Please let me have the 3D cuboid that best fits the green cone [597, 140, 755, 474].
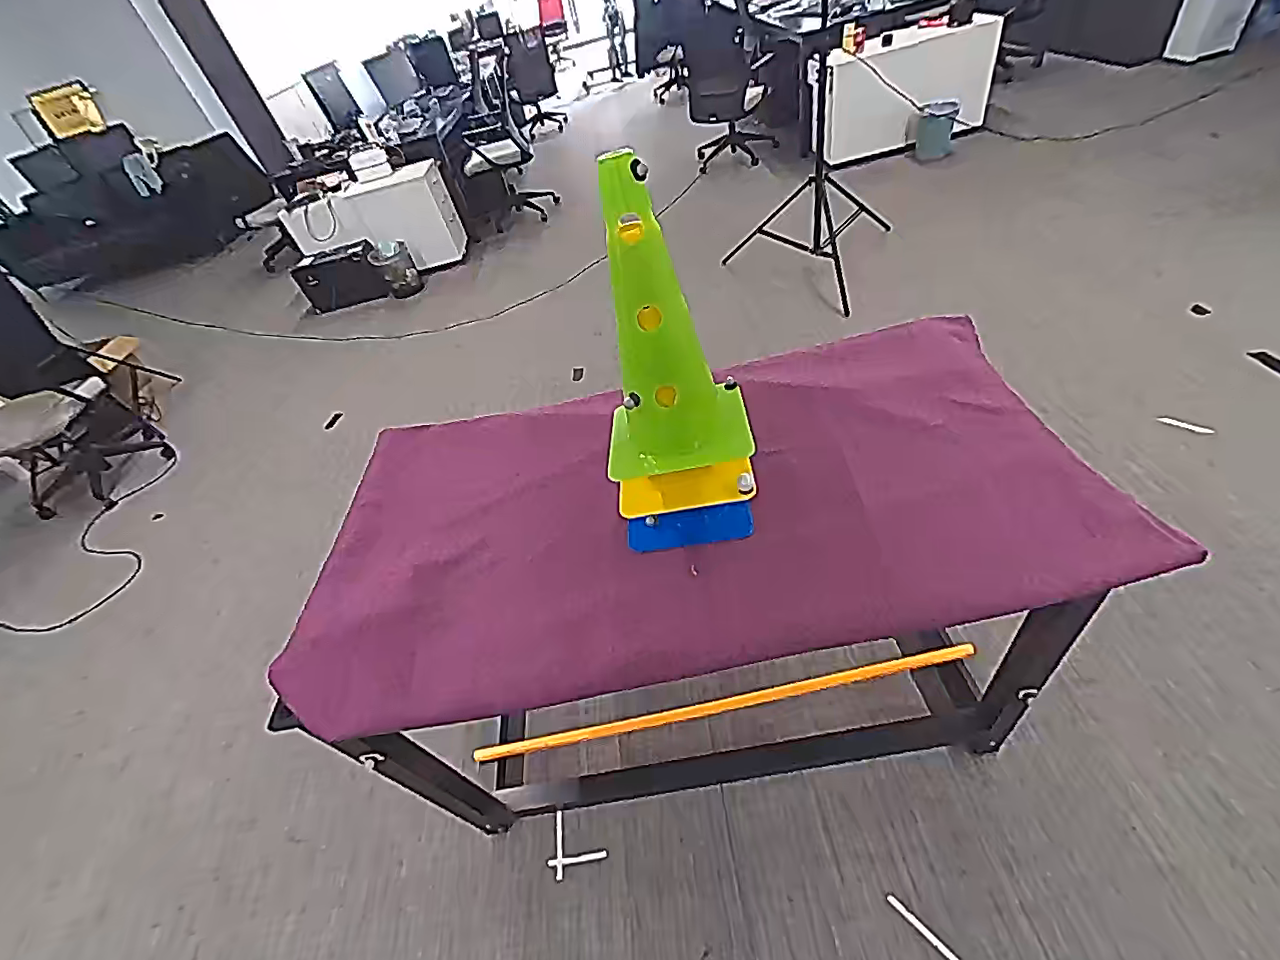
[{"bbox_3d":[0.013,-0.214,0.677,0.200,0.368,0.202,-11,38,9],"label":"green cone"}]
